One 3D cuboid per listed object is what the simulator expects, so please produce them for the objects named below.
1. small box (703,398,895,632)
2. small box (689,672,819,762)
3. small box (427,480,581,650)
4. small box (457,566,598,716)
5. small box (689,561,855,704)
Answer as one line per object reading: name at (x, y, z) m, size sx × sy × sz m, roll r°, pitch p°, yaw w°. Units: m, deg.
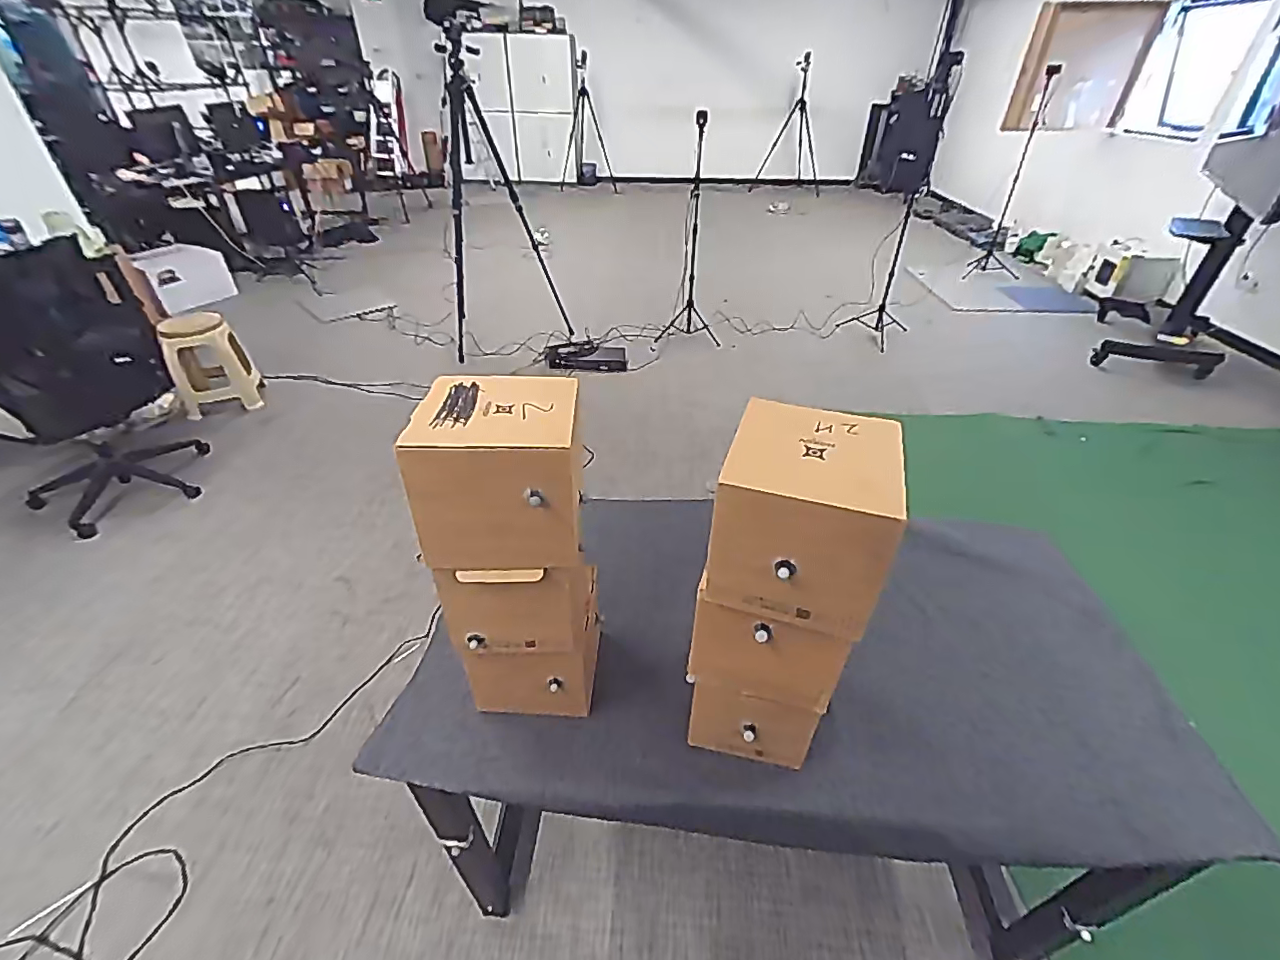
small box at (0.167, 0.034, 0.585) m, size 0.168 × 0.176 × 0.179 m, roll 12°, pitch 38°, yaw 16°
small box at (0.166, 0.283, 0.799) m, size 0.168 × 0.176 × 0.179 m, roll 7°, pitch 38°, yaw 10°
small box at (-0.171, 0.118, 0.748) m, size 0.168 × 0.176 × 0.179 m, roll -1°, pitch 35°, yaw -2°
small box at (-0.161, 0.250, 0.847) m, size 0.179 × 0.176 × 0.168 m, roll 1°, pitch 35°, yaw 2°
small box at (0.168, 0.158, 0.694) m, size 0.179 × 0.176 × 0.168 m, roll 10°, pitch 38°, yaw 15°
